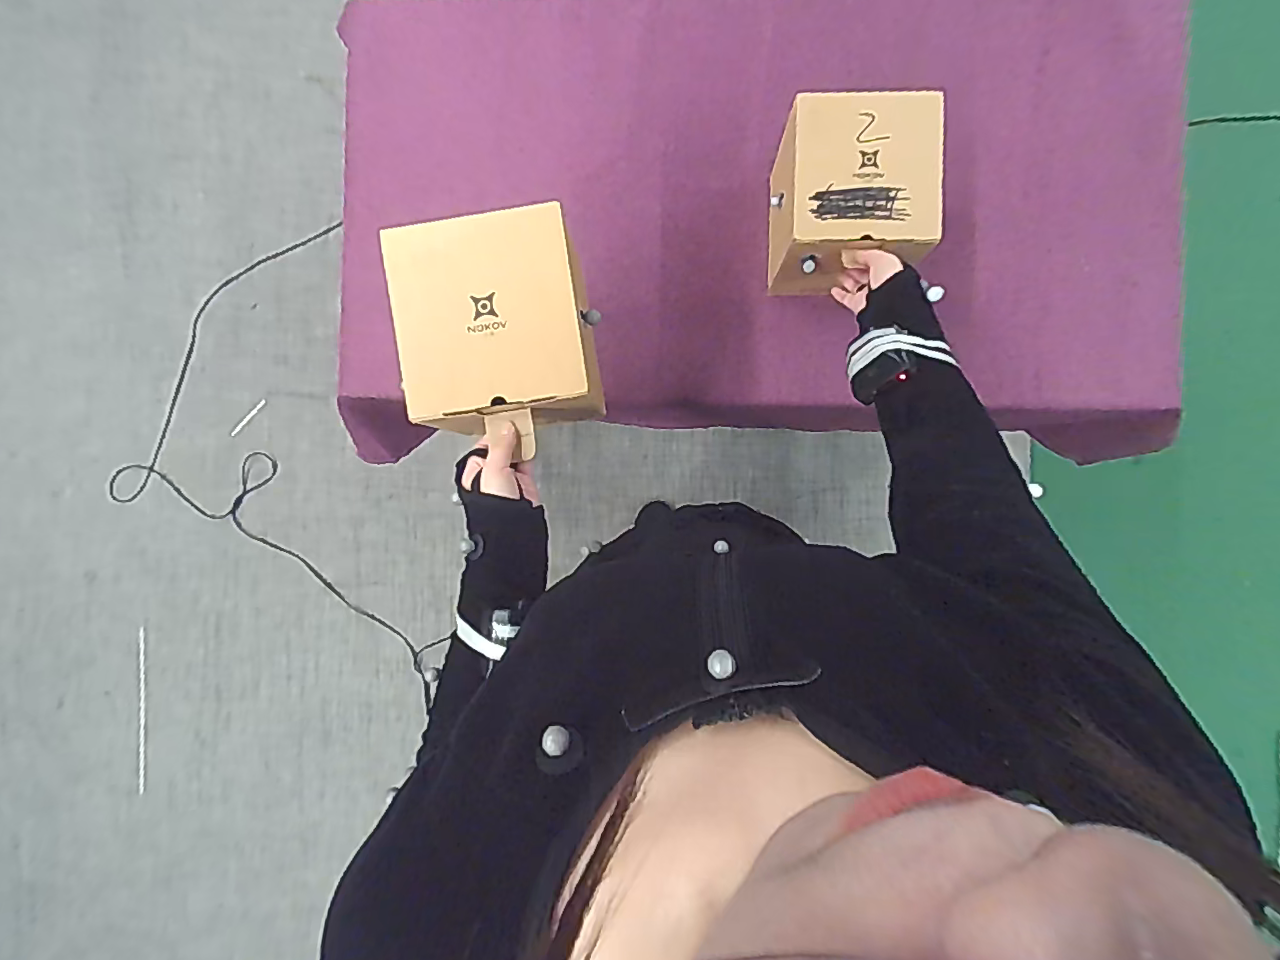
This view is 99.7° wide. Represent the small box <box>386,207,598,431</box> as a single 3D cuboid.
[{"bbox_3d":[-0.142,-0.155,0.577,0.168,0.176,0.179,-9,91,1],"label":"small box"}]
